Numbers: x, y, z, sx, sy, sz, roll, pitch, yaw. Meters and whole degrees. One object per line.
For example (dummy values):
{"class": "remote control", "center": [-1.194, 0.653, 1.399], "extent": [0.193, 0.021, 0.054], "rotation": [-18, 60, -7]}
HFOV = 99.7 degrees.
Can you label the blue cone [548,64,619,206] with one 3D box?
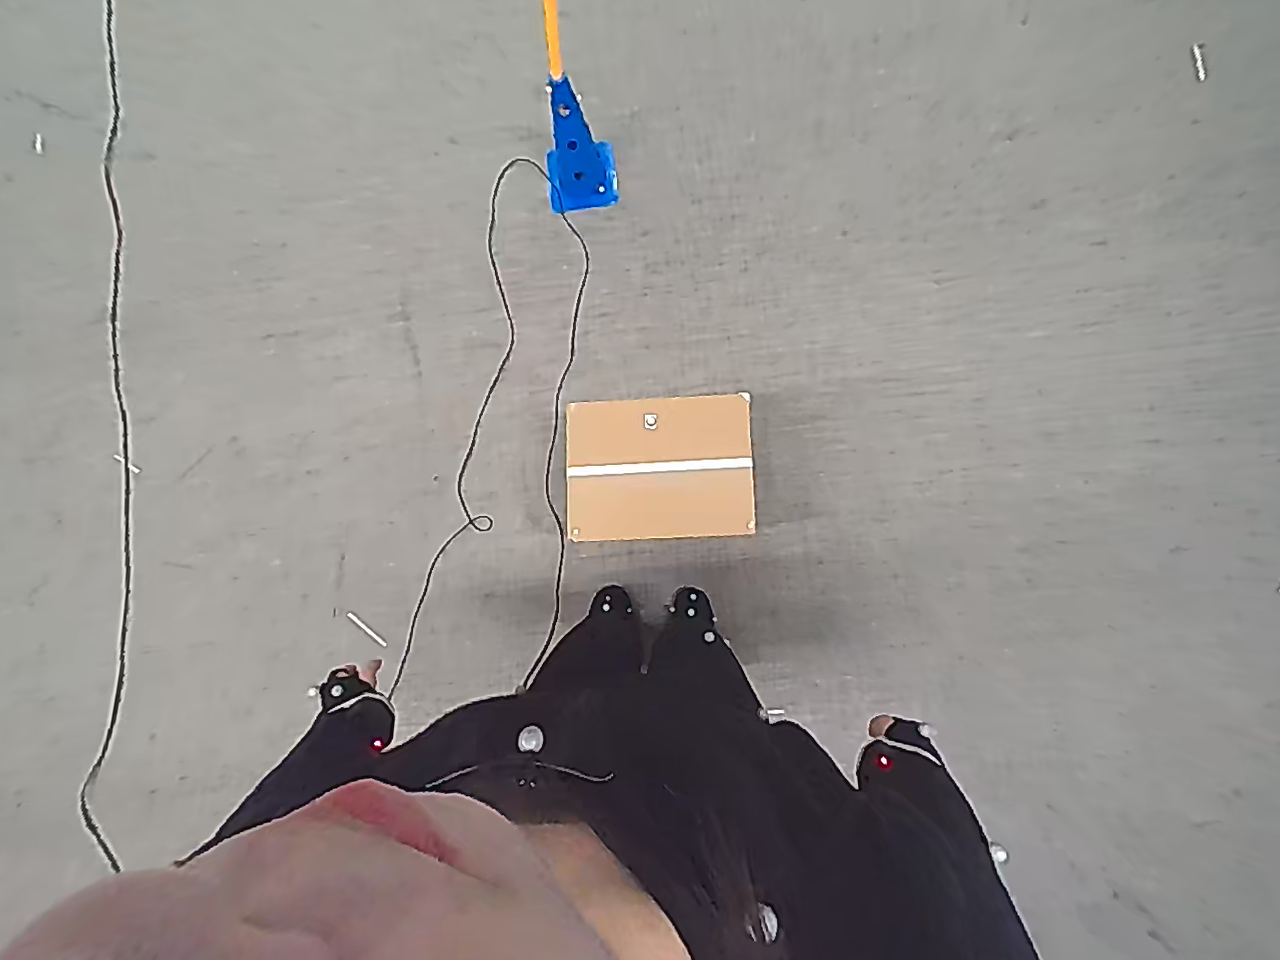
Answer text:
{"class": "blue cone", "center": [-0.171, -0.903, 1.390], "extent": [0.193, 0.380, 0.192], "rotation": [-8, 84, 1]}
